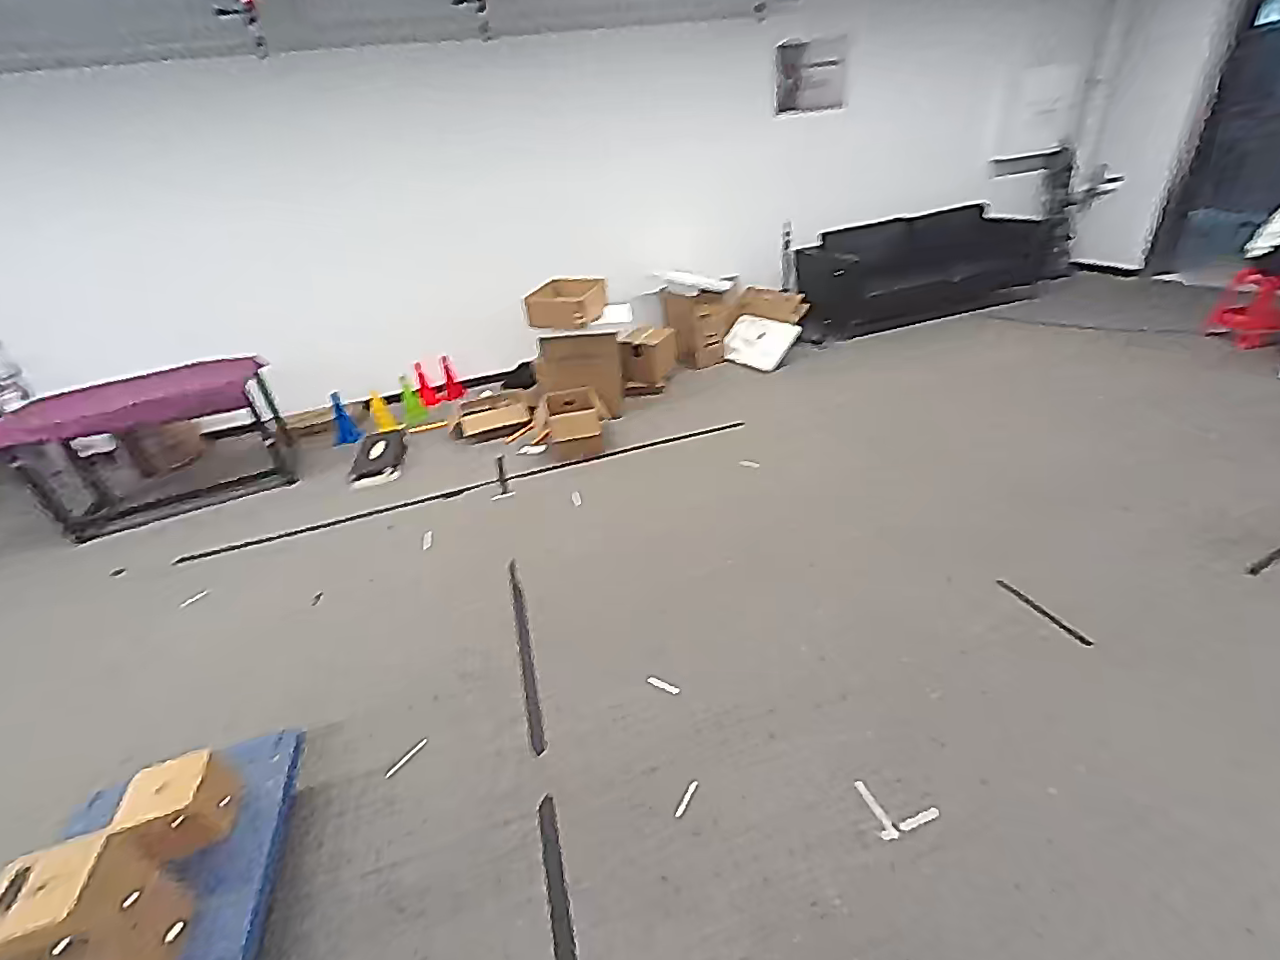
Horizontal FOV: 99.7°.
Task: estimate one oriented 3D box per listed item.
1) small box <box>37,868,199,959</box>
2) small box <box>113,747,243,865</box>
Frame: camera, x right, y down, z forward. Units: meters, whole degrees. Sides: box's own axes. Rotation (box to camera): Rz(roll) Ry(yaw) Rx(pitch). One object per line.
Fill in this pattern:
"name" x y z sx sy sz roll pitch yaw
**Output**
"small box" -1.091 0.969 1.134 0.179 0.176 0.168 -12 31 -10
"small box" -1.169 0.836 1.385 0.179 0.176 0.168 -16 31 -15
